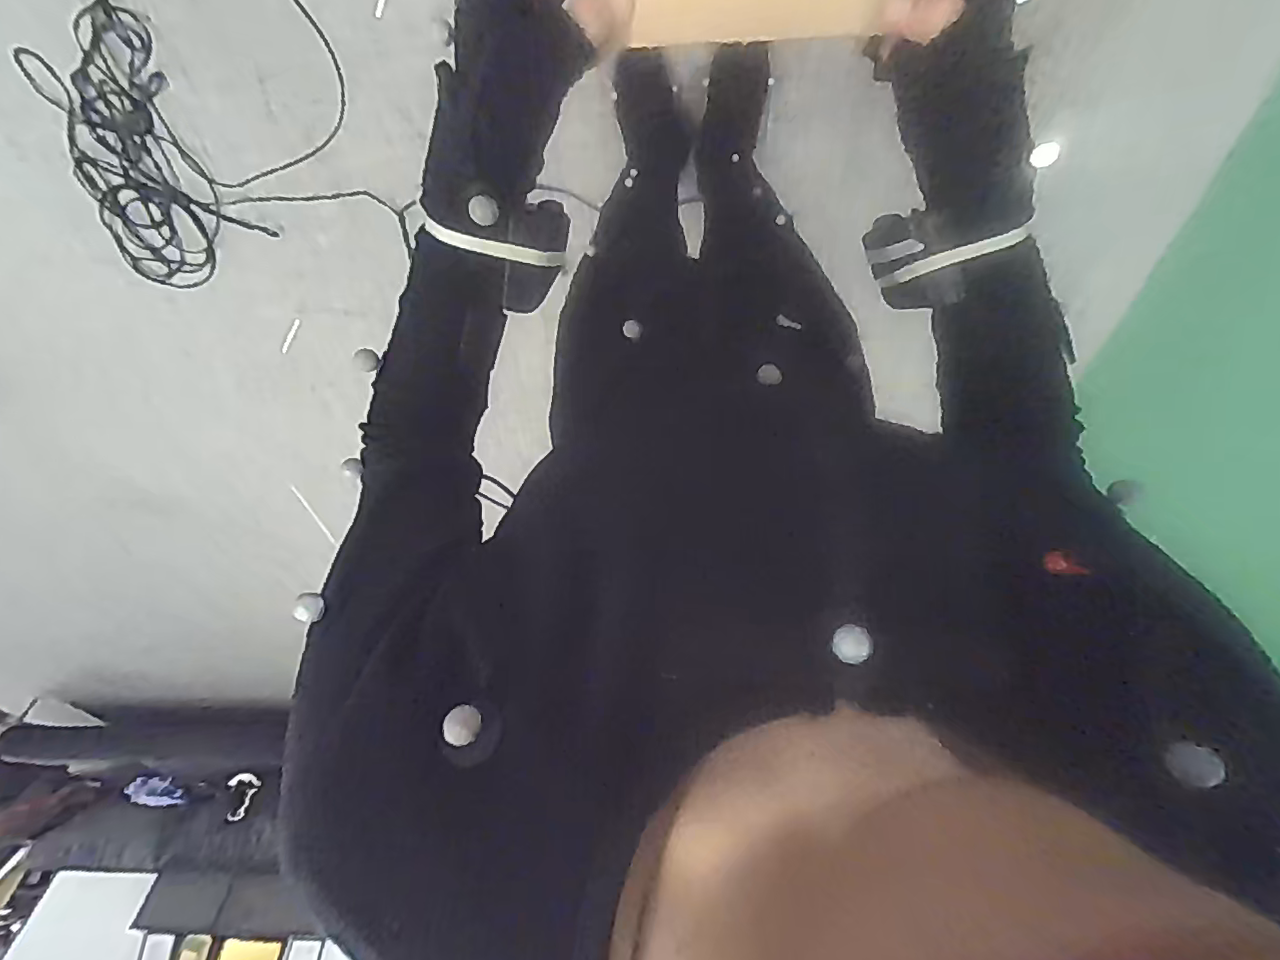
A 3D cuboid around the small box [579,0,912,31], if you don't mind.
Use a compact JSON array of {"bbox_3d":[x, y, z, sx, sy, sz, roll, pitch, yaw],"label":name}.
[{"bbox_3d":[0.048,-0.342,0.271,0.168,0.176,0.179,-2,132,0],"label":"small box"}]
